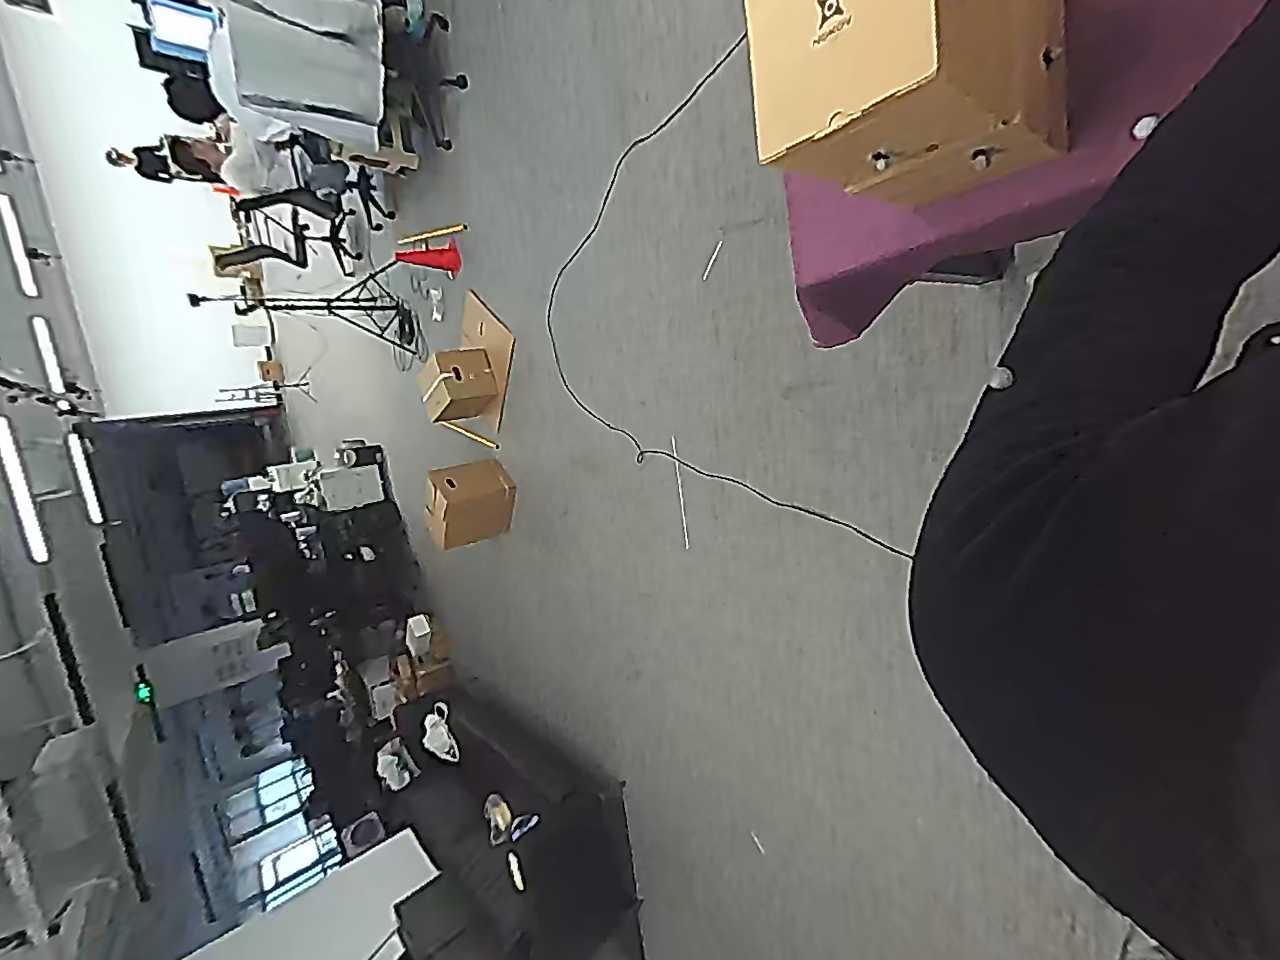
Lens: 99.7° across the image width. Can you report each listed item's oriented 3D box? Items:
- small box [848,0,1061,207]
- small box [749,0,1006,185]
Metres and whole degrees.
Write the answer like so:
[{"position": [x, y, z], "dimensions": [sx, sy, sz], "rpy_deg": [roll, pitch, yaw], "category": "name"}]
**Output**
[{"position": [0.353, -0.430, 0.611], "dimensions": [0.179, 0.176, 0.168], "rpy_deg": [2, 102, 51], "category": "small box"}, {"position": [0.225, -0.409, 0.511], "dimensions": [0.168, 0.176, 0.179], "rpy_deg": [3, 104, 51], "category": "small box"}]
